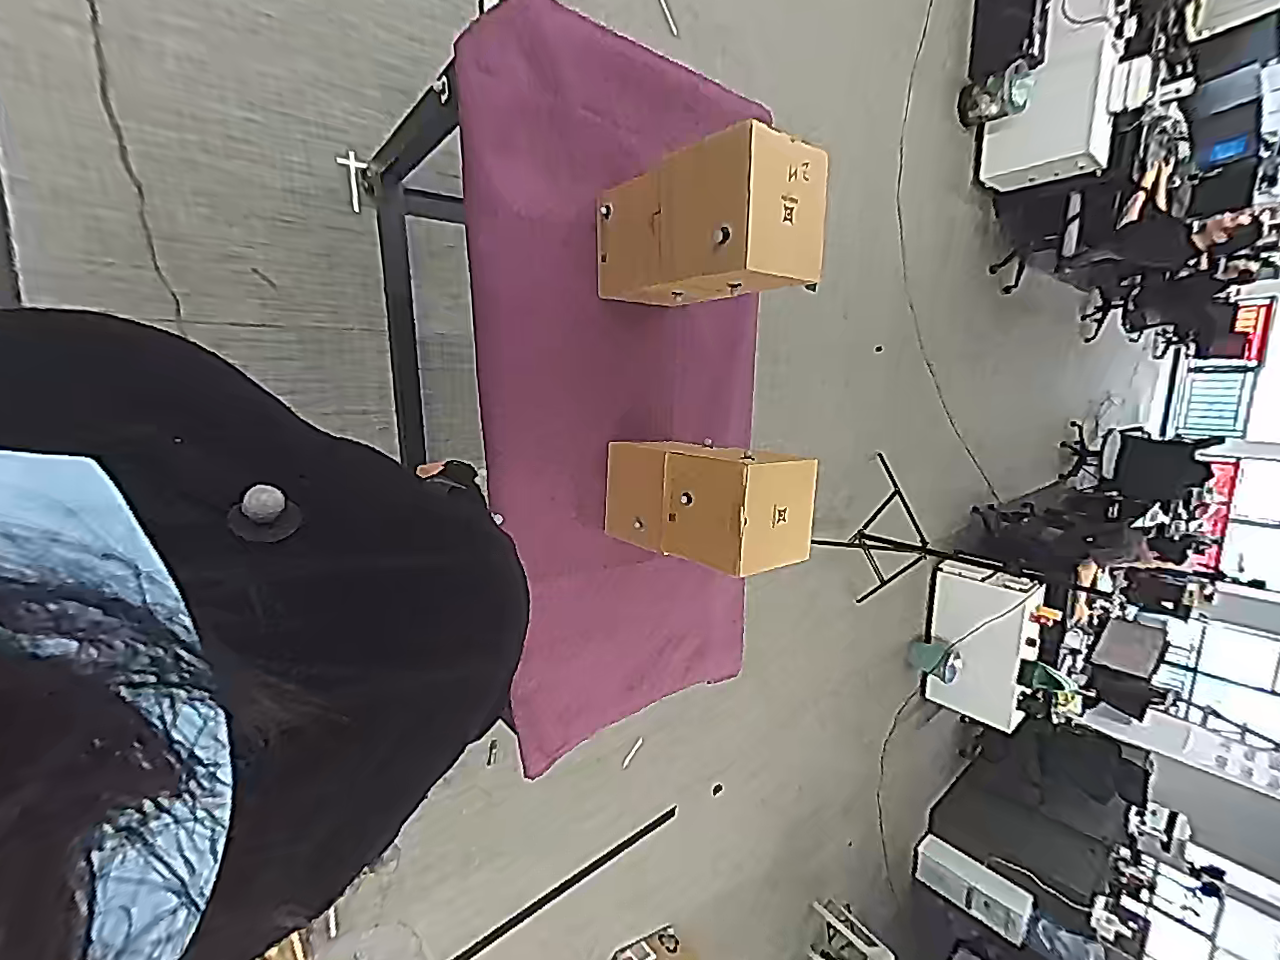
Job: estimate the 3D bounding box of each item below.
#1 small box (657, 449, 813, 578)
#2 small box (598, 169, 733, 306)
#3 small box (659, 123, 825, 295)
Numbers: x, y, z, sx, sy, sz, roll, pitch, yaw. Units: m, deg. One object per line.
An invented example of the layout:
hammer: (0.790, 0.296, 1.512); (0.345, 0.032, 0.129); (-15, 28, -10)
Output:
small box: (0.150, 0.042, 0.868); (0.179, 0.176, 0.168); (-5, 102, -40)
small box: (0.042, -0.391, 0.909); (0.179, 0.176, 0.168); (-8, 104, -40)
small box: (0.141, -0.369, 0.779); (0.168, 0.176, 0.179); (-9, 104, -39)
